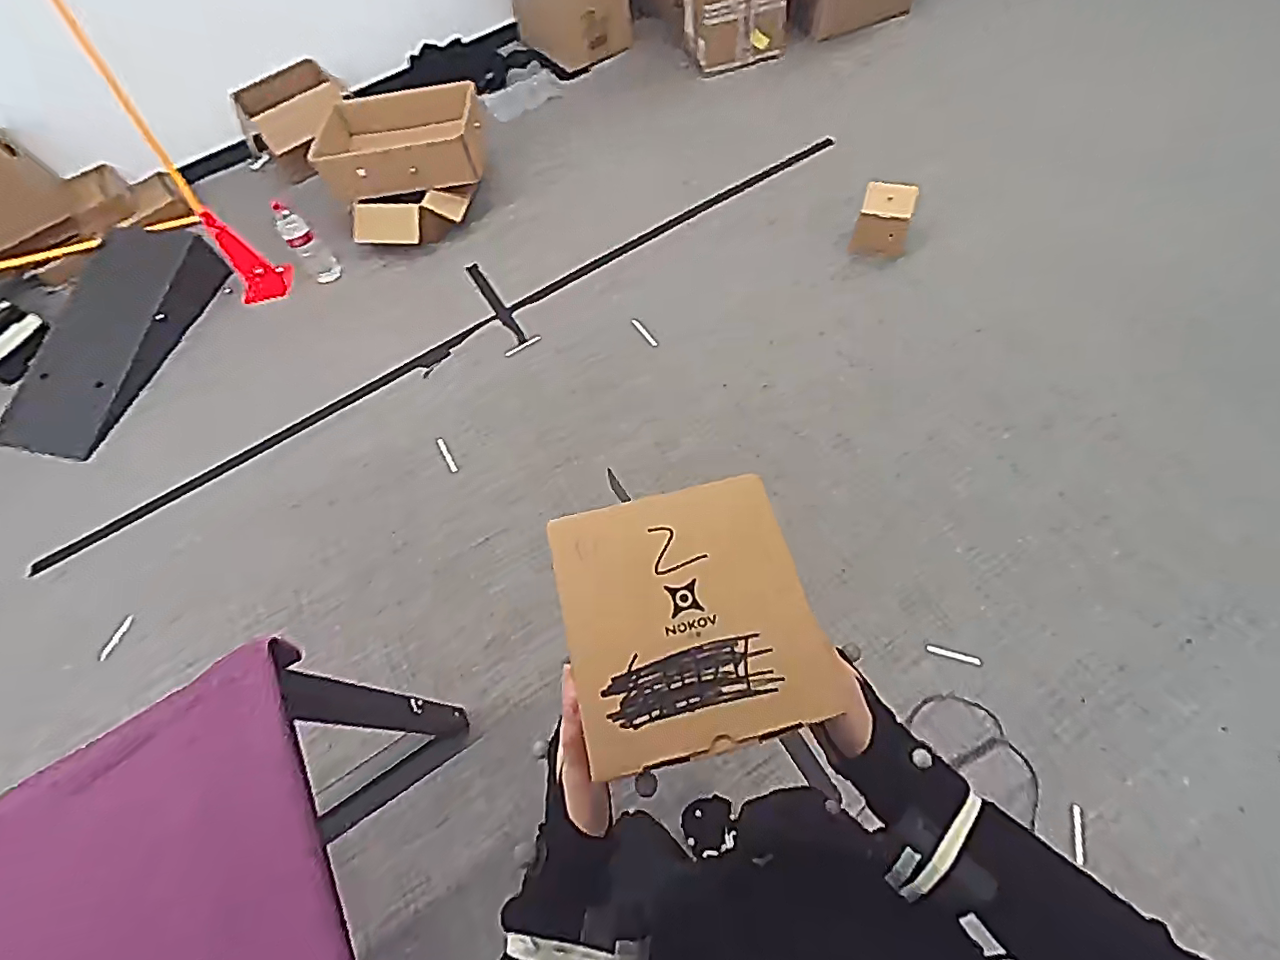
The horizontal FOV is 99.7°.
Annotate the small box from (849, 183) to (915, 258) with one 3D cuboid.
[{"bbox_3d":[0.861,-0.927,1.936,0.168,0.176,0.179,16,64,14],"label":"small box"}]
